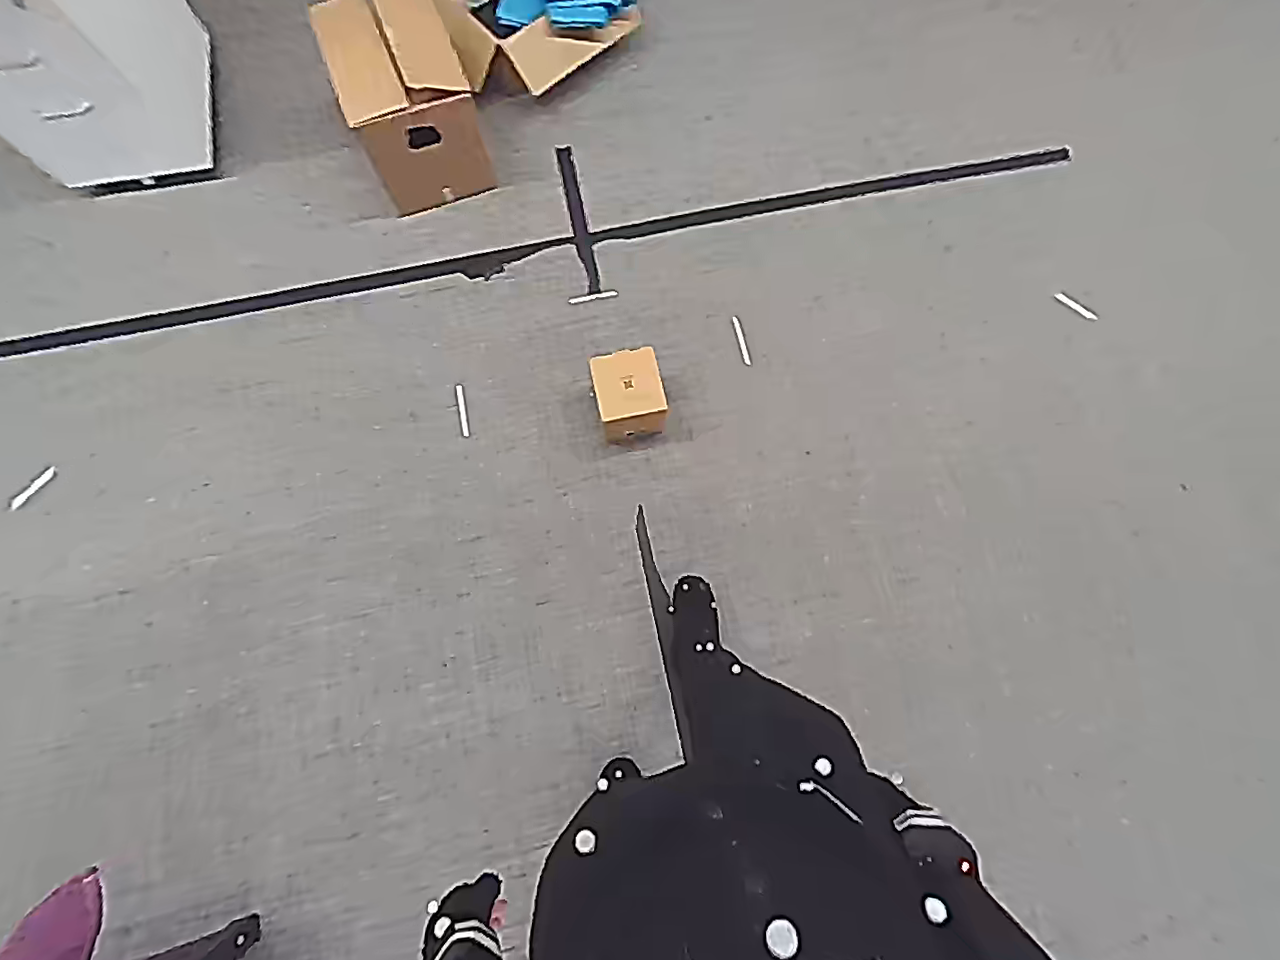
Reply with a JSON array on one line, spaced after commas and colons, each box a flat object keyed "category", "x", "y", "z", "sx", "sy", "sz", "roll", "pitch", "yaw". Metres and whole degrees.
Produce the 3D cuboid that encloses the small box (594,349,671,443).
[{"category": "small box", "x": -0.023, "y": -0.214, "z": 1.407, "sx": 0.168, "sy": 0.176, "sz": 0.179, "roll": -12, "pitch": 77, "yaw": -4}]
